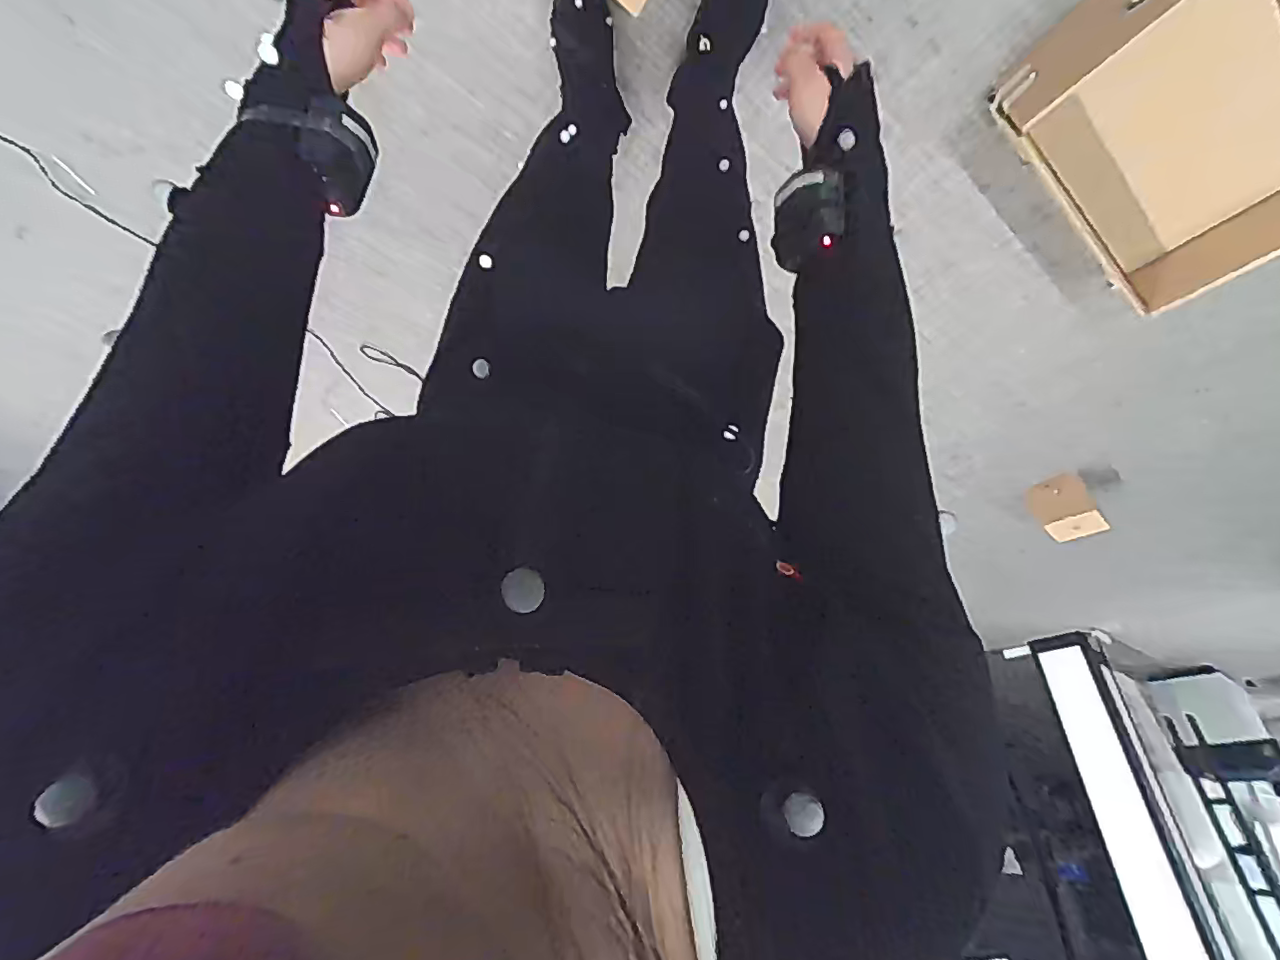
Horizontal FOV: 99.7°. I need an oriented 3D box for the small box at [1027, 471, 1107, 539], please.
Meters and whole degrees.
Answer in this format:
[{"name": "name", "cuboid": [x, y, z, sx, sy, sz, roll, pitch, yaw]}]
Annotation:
[{"name": "small box", "cuboid": [1.569, 0.093, 1.990, 0.179, 0.176, 0.168, 29, 138, -32]}]
